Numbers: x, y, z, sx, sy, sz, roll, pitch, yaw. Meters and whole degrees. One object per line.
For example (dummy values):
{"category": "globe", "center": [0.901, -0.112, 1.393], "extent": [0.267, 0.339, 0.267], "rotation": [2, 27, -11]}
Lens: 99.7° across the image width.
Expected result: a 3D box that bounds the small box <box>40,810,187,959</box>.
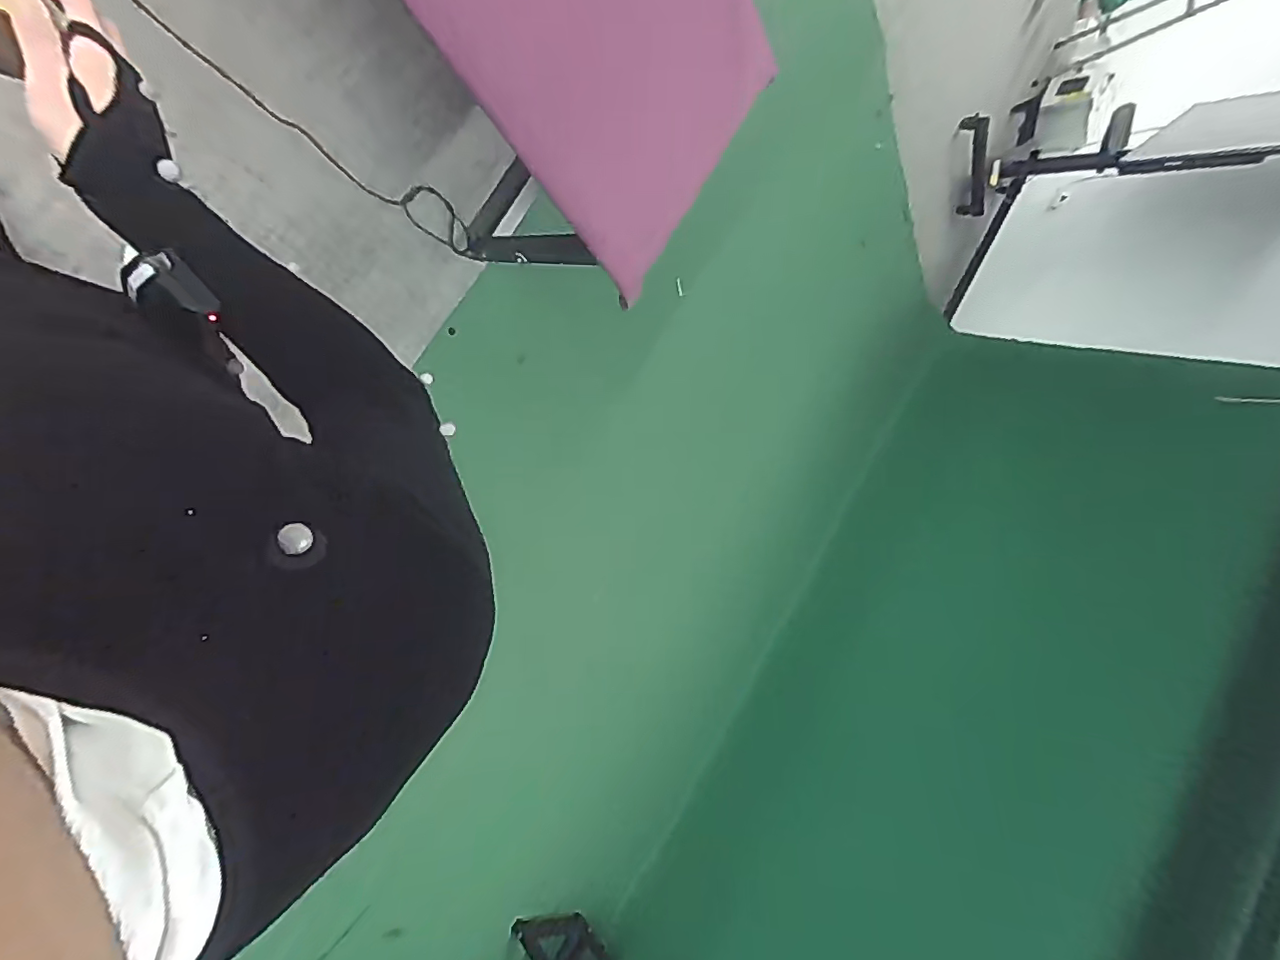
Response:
{"category": "small box", "center": [-1.100, 0.852, 1.144], "extent": [0.168, 0.176, 0.179], "rotation": [-28, 125, -33]}
